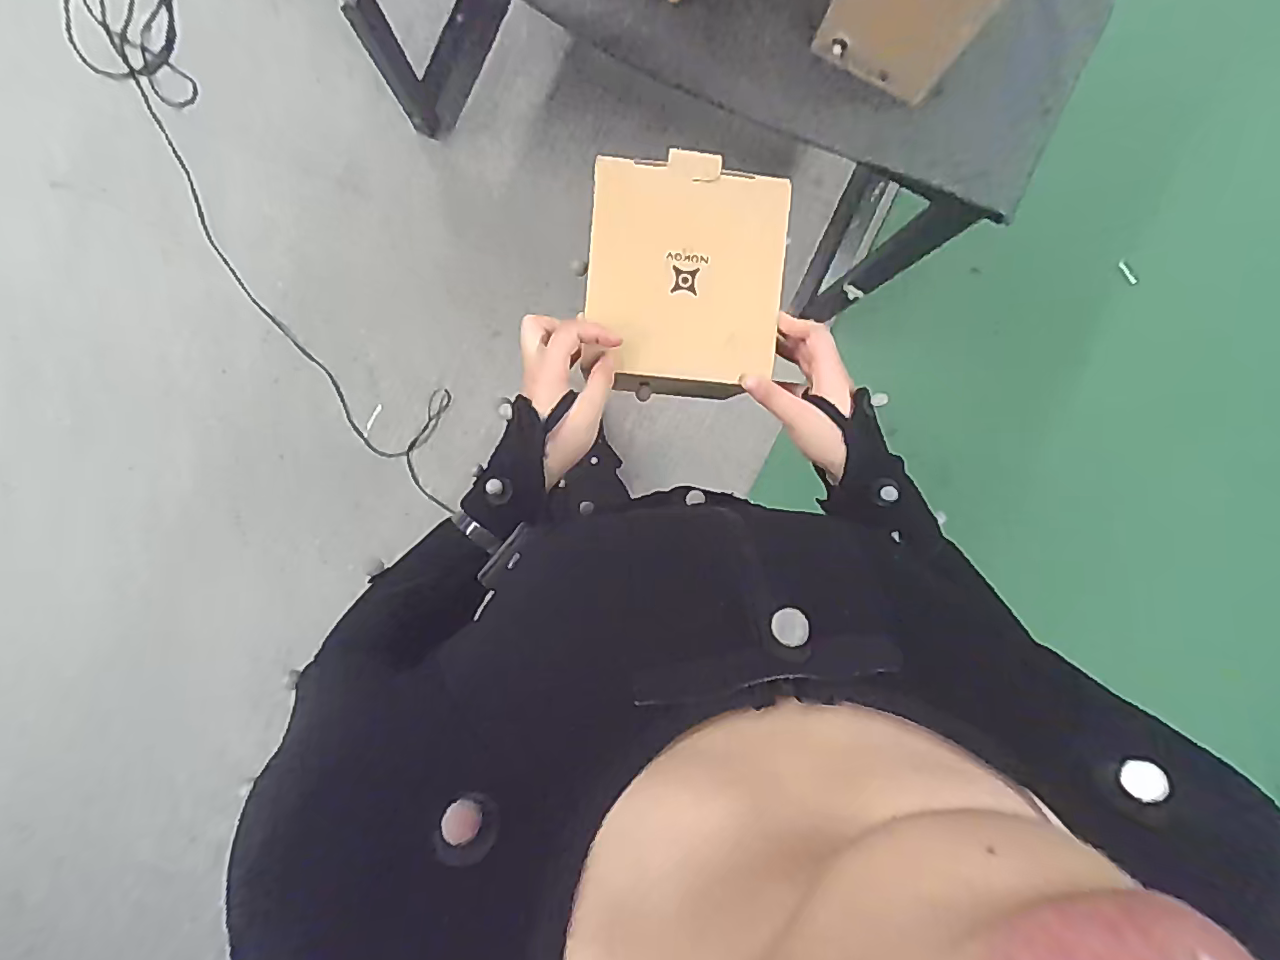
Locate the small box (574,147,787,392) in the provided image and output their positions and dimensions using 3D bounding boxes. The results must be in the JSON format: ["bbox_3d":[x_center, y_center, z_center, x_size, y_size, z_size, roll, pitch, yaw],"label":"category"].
[{"bbox_3d":[0.030,-0.183,0.527,0.168,0.176,0.179,4,93,-3],"label":"small box"}]

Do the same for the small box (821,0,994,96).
[{"bbox_3d":[0.340,-0.616,0.644,0.168,0.176,0.179,26,88,-2],"label":"small box"}]
